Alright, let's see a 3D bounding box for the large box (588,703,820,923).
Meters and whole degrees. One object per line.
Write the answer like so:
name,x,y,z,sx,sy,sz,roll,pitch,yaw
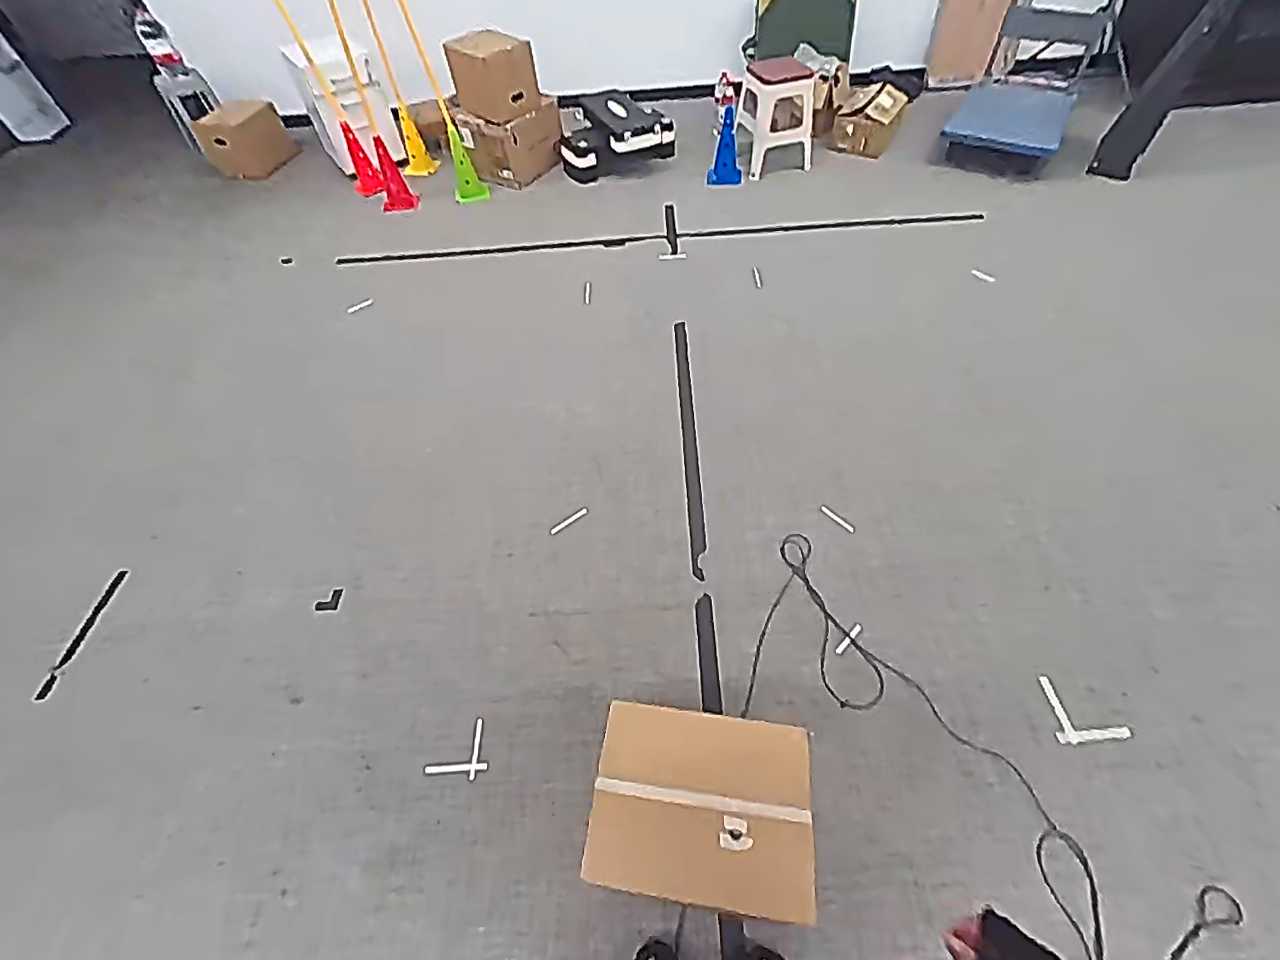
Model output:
large box,0.129,0.692,1.125,0.408,0.320,0.320,4,51,8
